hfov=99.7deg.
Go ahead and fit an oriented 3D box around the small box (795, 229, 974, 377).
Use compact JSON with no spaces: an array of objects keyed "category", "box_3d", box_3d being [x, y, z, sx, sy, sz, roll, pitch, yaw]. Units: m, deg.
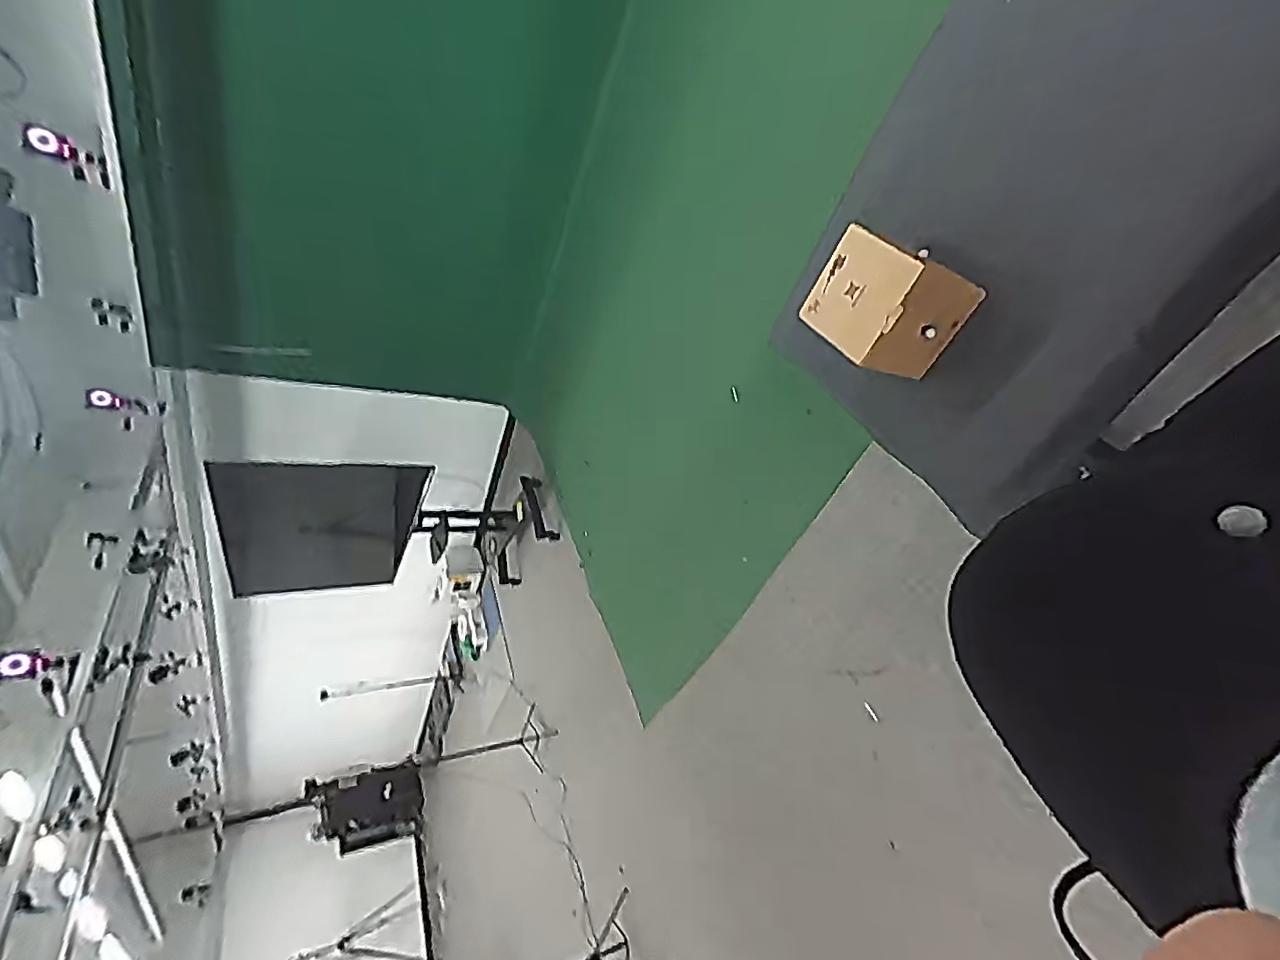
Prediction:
[{"category":"small box","box_3d":[0.405,-0.287,0.903,0.168,0.176,0.179,-63,40,33]}]
